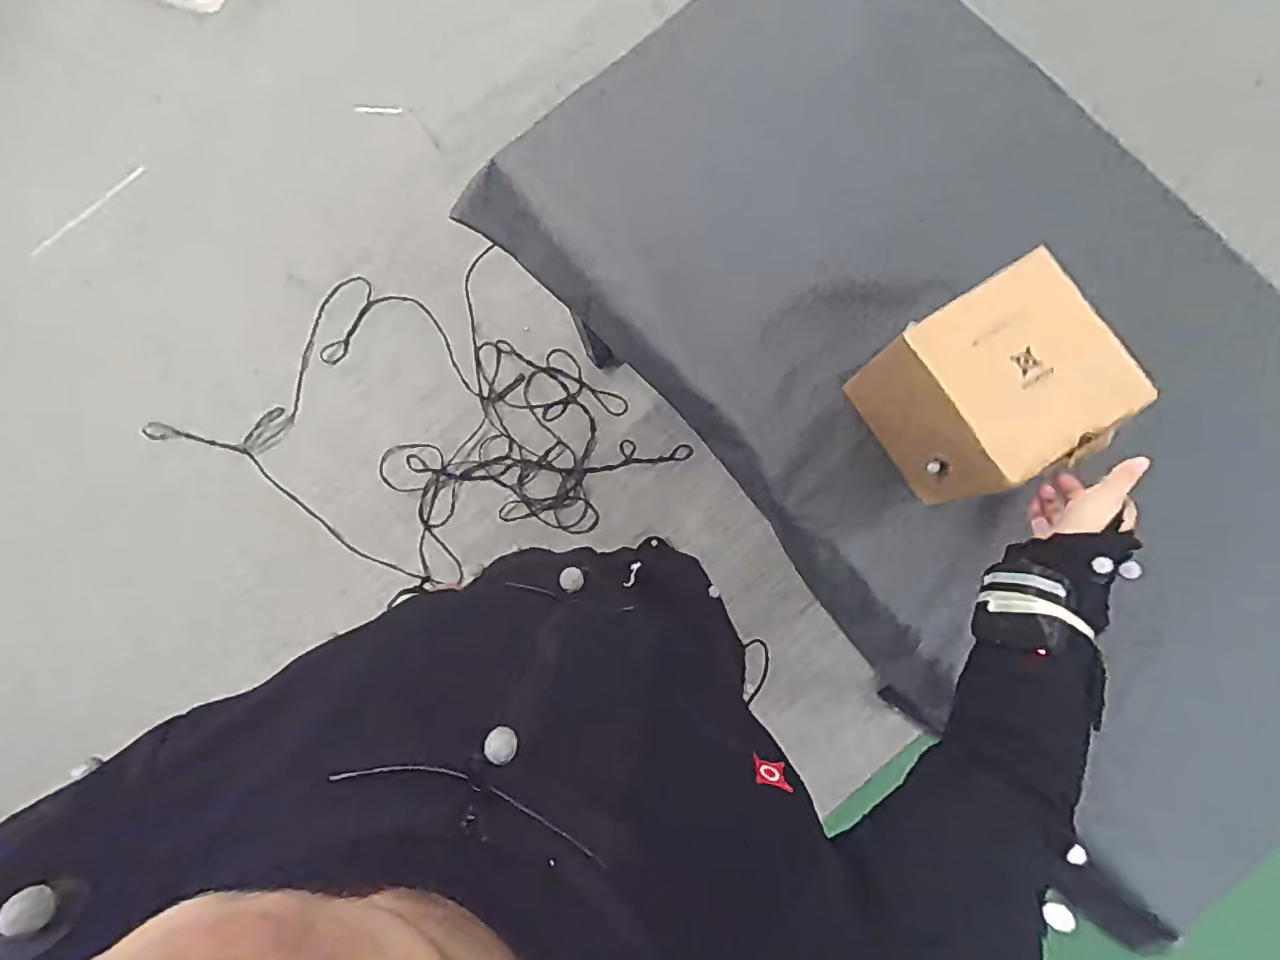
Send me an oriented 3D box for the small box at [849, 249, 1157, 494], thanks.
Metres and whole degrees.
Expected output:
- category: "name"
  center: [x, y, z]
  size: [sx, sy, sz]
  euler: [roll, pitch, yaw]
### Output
- category: "small box"
  center: [0.362, -0.097, 0.579]
  size: [0.168, 0.176, 0.179]
  euler: [-32, 82, -3]
